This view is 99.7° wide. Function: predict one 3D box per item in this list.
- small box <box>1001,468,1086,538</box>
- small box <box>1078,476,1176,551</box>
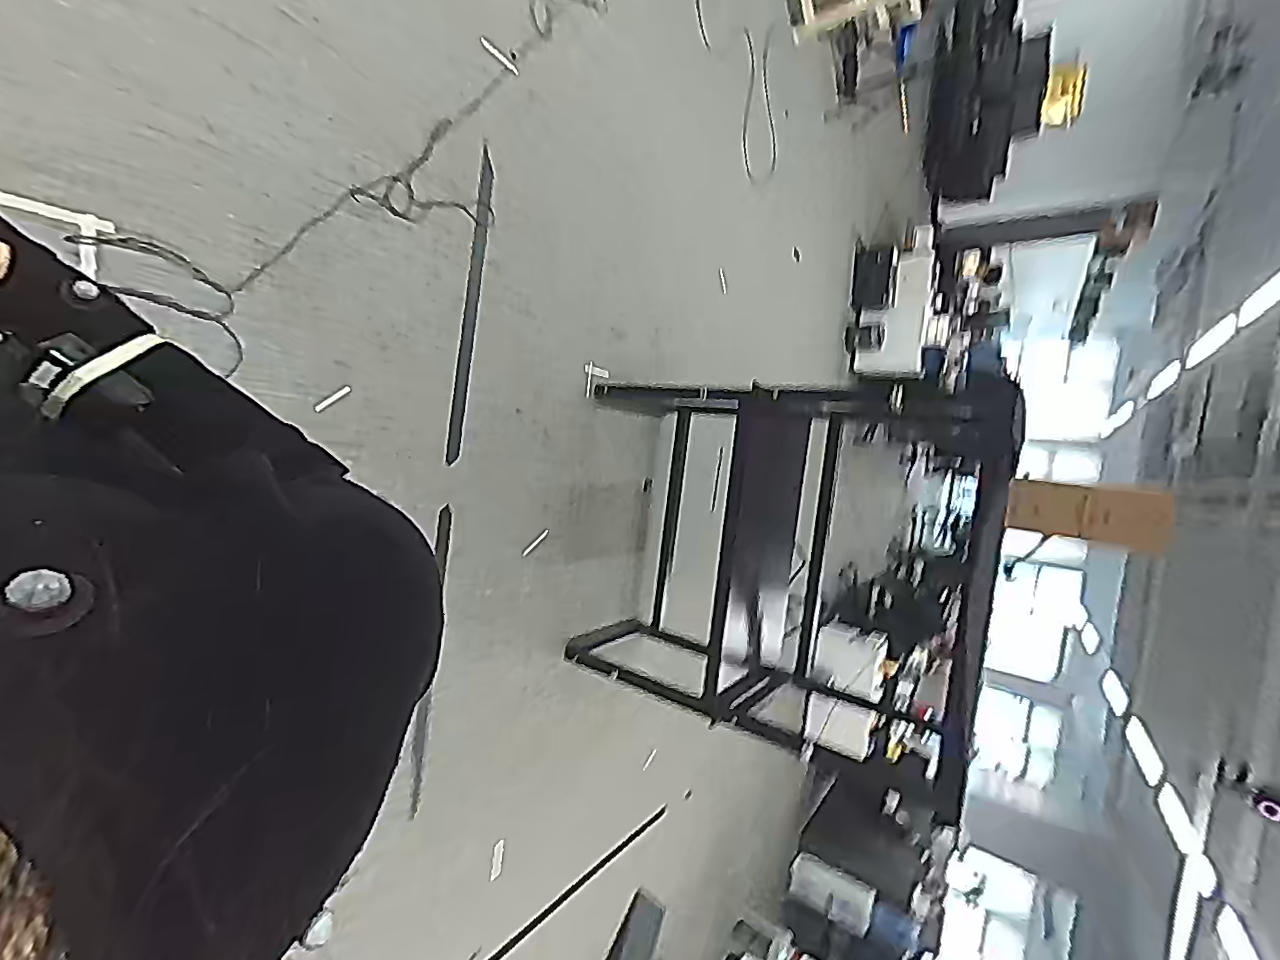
[{"bbox_3d":[1.109,0.058,1.495,0.179,0.176,0.168,-5,101,-55],"label":"small box"},{"bbox_3d":[1.246,0.080,1.406,0.179,0.176,0.168,-4,99,-56],"label":"small box"}]
